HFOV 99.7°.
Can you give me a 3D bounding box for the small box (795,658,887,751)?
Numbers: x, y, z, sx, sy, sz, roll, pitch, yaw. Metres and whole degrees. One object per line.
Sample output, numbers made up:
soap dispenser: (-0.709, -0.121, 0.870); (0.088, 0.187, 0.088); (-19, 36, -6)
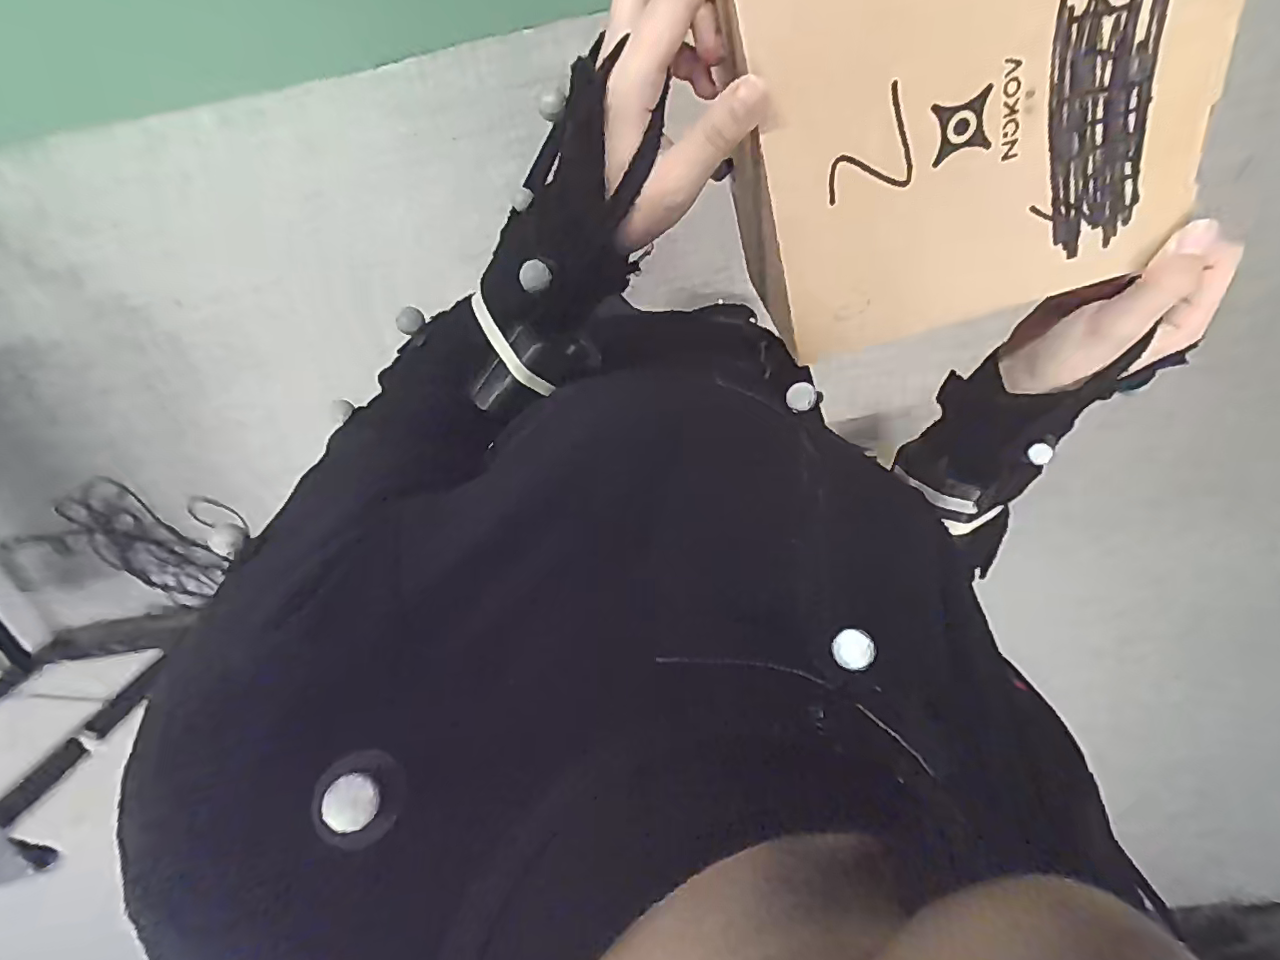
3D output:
small box: (0.606, 0.681, 1.655); (0.179, 0.176, 0.168); (35, 109, -14)
